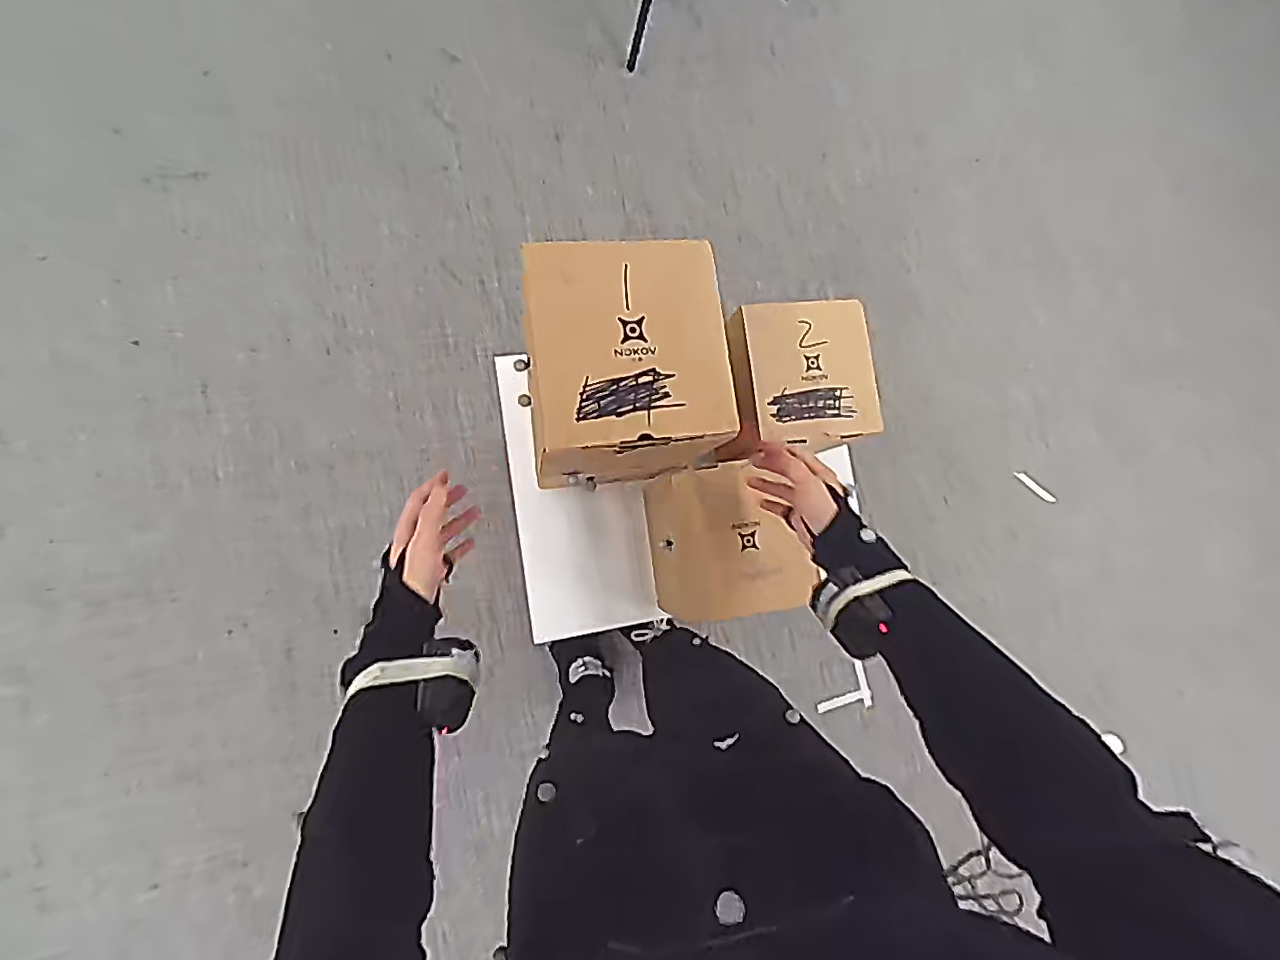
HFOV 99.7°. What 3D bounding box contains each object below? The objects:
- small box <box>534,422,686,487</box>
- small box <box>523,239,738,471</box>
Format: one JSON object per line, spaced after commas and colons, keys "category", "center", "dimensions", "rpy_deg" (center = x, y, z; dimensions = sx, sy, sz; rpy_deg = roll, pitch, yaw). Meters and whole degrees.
{"category": "small box", "center": [-0.049, -0.086, 0.684], "dimensions": [0.168, 0.176, 0.179], "rpy_deg": [-5, 84, -12]}
{"category": "small box", "center": [-0.020, -0.106, 0.523], "dimensions": [0.168, 0.176, 0.179], "rpy_deg": [-6, 84, -12]}
